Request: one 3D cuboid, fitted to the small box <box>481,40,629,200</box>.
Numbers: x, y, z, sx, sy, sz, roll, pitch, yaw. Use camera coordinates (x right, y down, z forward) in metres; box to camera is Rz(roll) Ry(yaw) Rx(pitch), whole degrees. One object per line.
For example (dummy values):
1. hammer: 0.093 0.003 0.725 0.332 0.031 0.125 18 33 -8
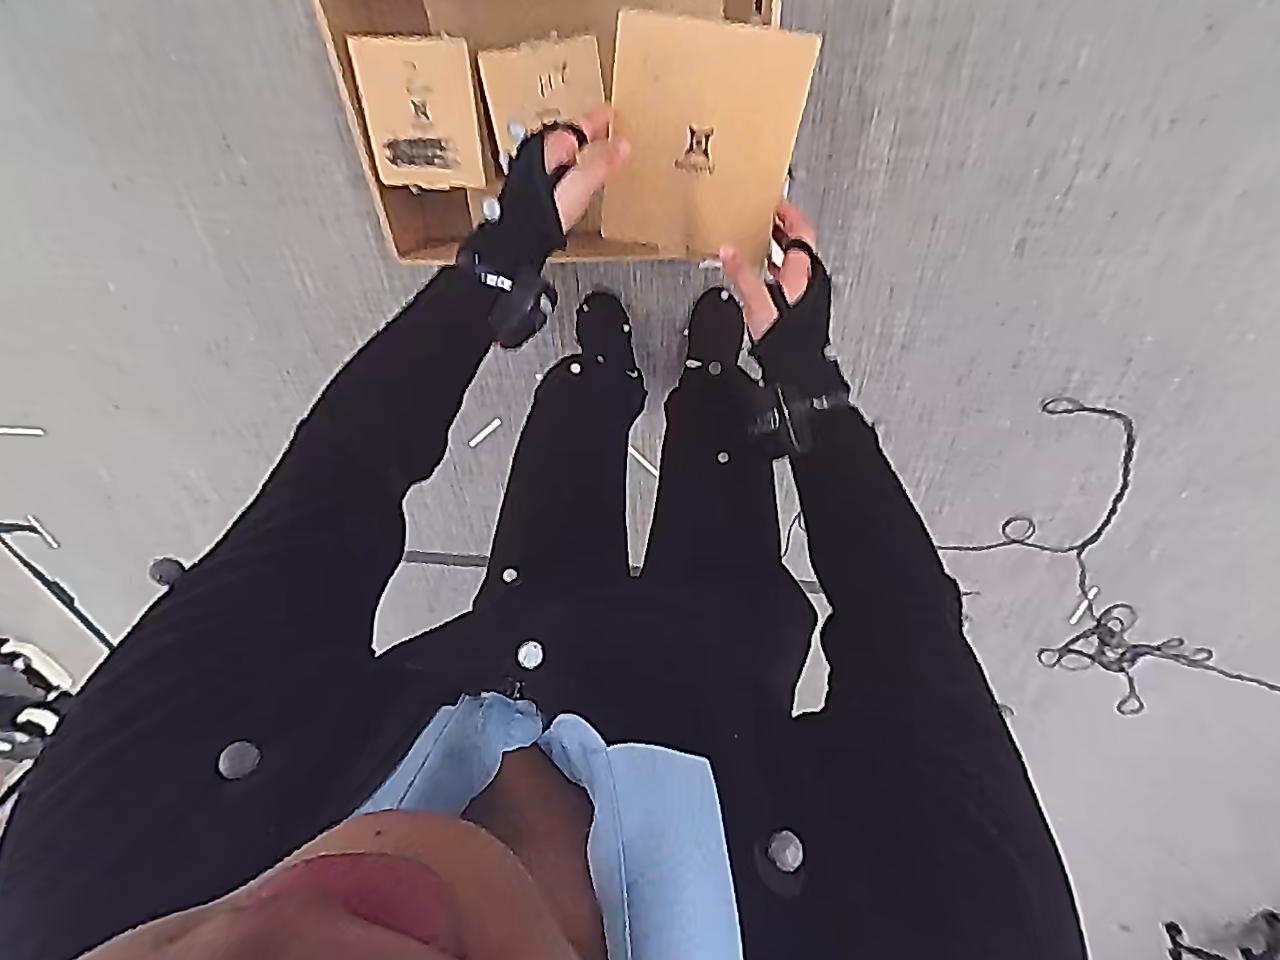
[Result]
1. small box: -0.114 -0.543 0.819 0.168 0.176 0.179 -2 125 9
